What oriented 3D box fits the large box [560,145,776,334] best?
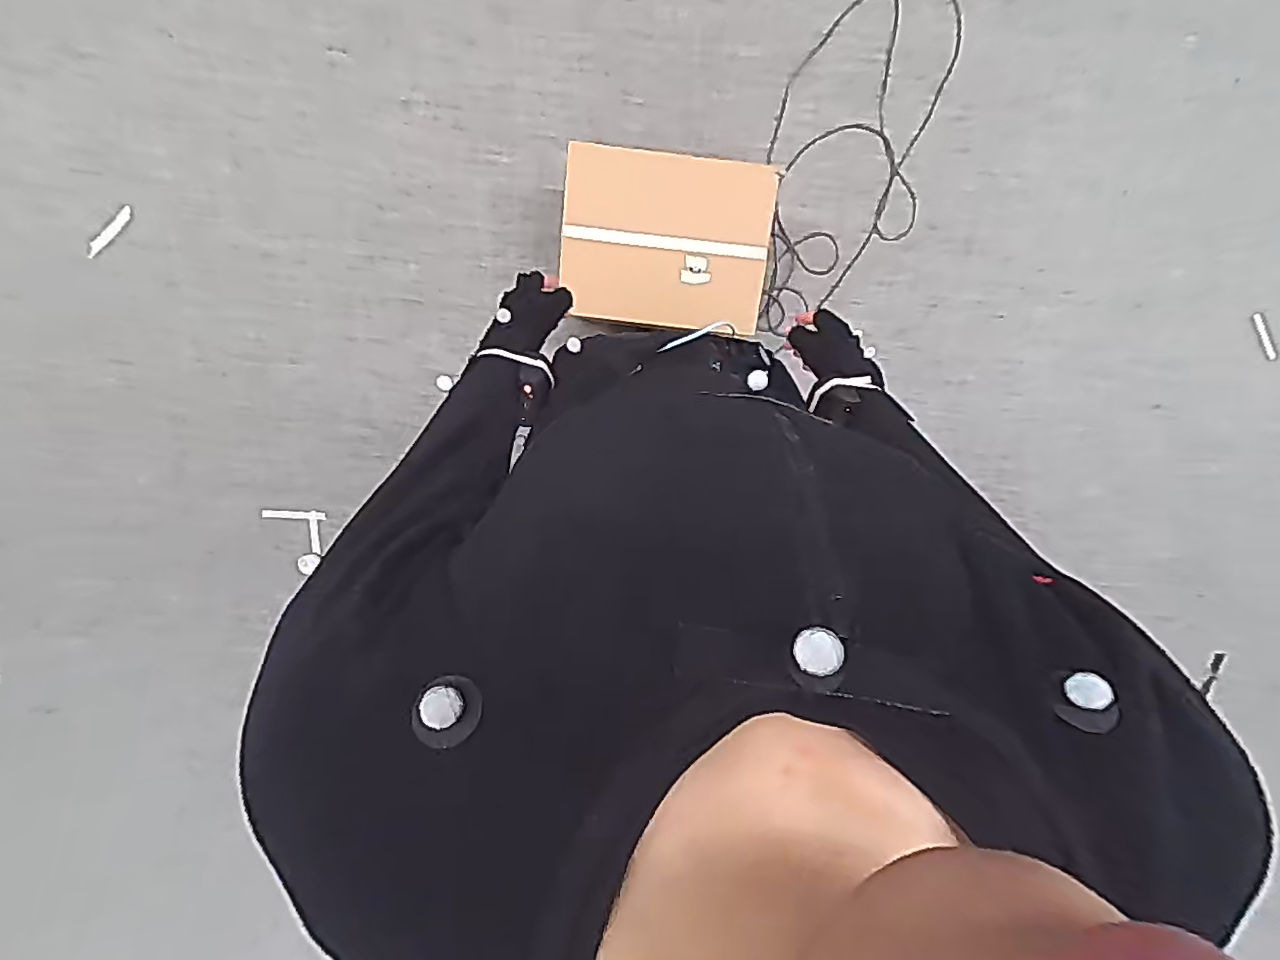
[{"bbox_3d":[0.046,-0.506,1.210,0.408,0.320,0.320,6,105,-2],"label":"large box"}]
